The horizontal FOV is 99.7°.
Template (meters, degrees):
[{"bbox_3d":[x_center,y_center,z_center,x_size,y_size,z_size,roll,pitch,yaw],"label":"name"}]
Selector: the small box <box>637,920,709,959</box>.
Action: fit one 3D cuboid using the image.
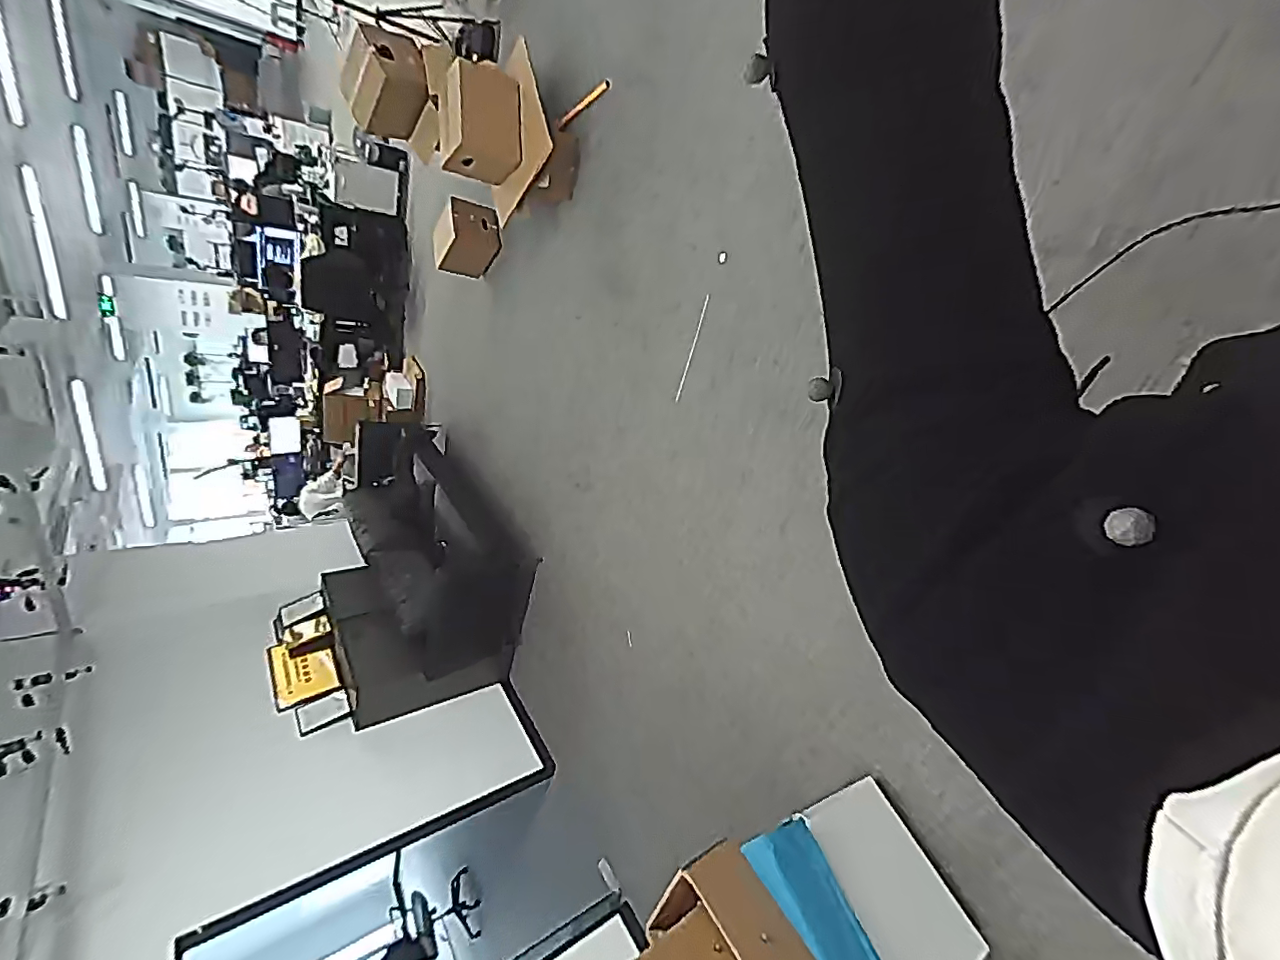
[{"bbox_3d":[0.089,1.275,1.363,0.179,0.176,0.168,45,129,38],"label":"small box"}]
